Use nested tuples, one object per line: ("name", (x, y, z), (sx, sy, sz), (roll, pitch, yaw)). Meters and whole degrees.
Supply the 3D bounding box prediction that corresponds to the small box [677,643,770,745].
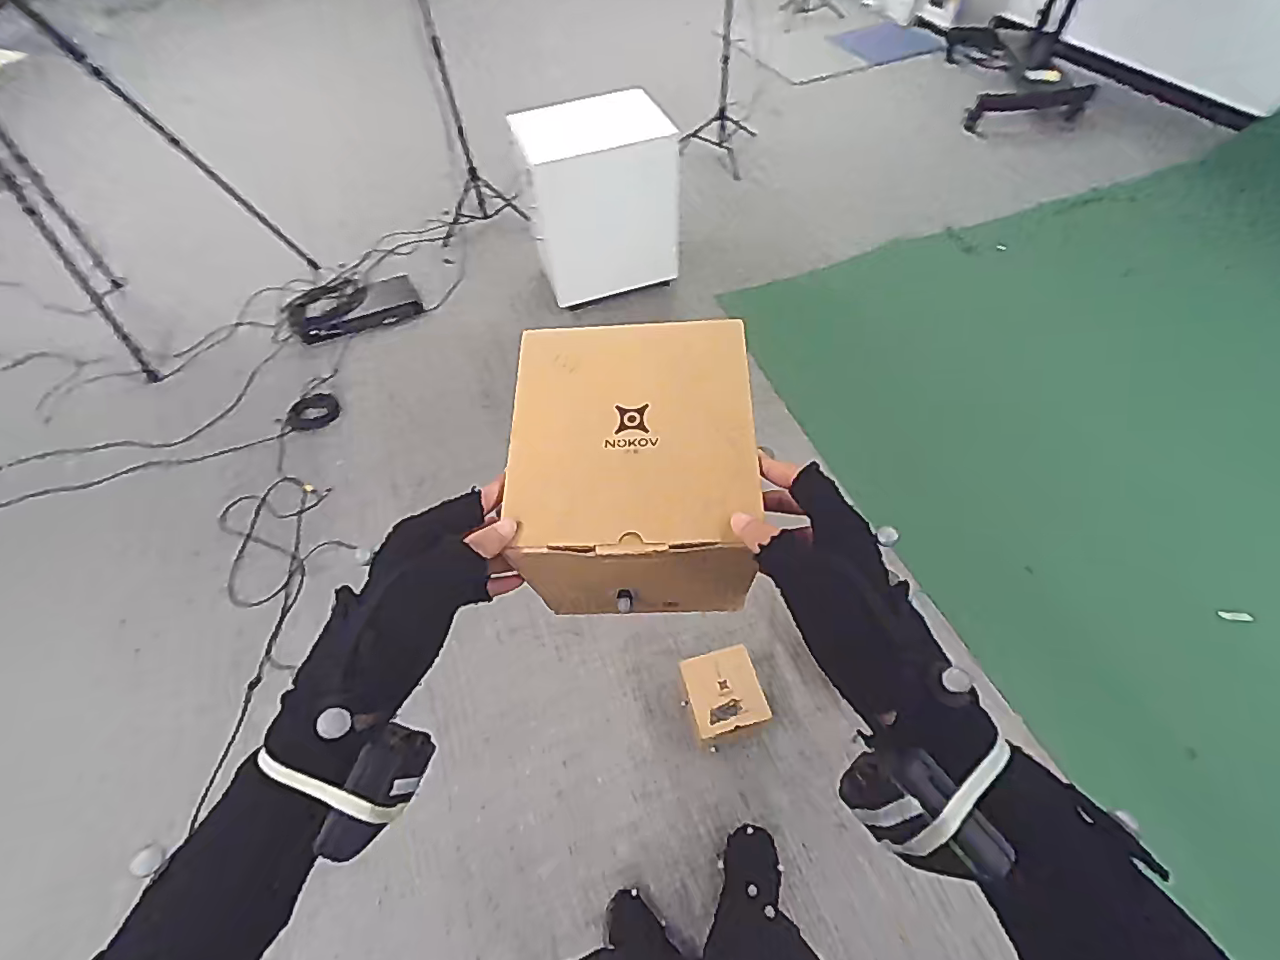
("small box", (0.192, 0.515, 1.285), (0.168, 0.176, 0.179), (-14, 55, -7))
